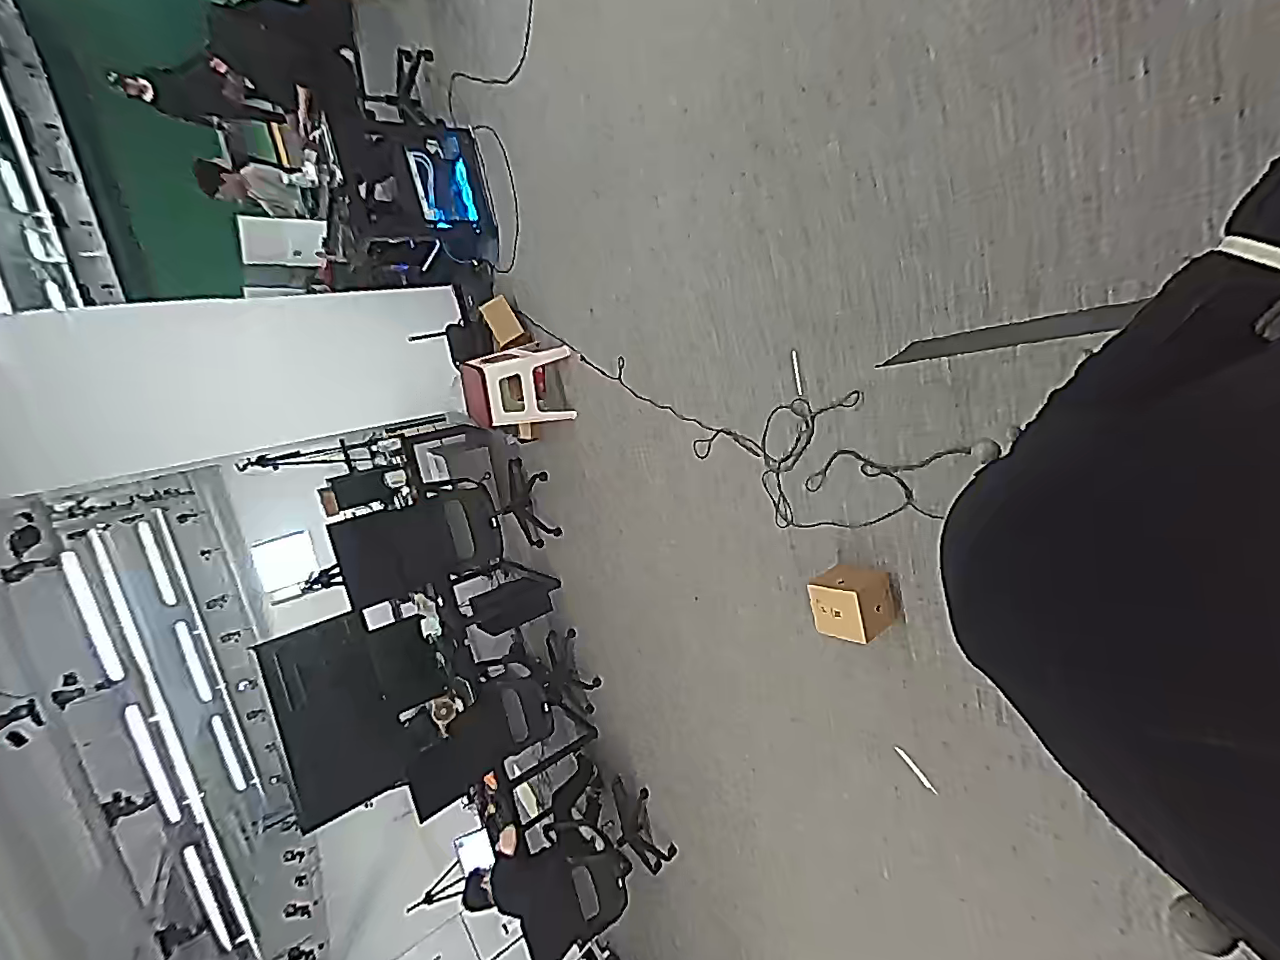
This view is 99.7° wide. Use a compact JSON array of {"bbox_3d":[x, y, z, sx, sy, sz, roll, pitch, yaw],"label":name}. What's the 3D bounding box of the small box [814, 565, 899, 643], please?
[{"bbox_3d":[0.666,0.369,1.647,0.179,0.176,0.168,-1,105,57],"label":"small box"}]
